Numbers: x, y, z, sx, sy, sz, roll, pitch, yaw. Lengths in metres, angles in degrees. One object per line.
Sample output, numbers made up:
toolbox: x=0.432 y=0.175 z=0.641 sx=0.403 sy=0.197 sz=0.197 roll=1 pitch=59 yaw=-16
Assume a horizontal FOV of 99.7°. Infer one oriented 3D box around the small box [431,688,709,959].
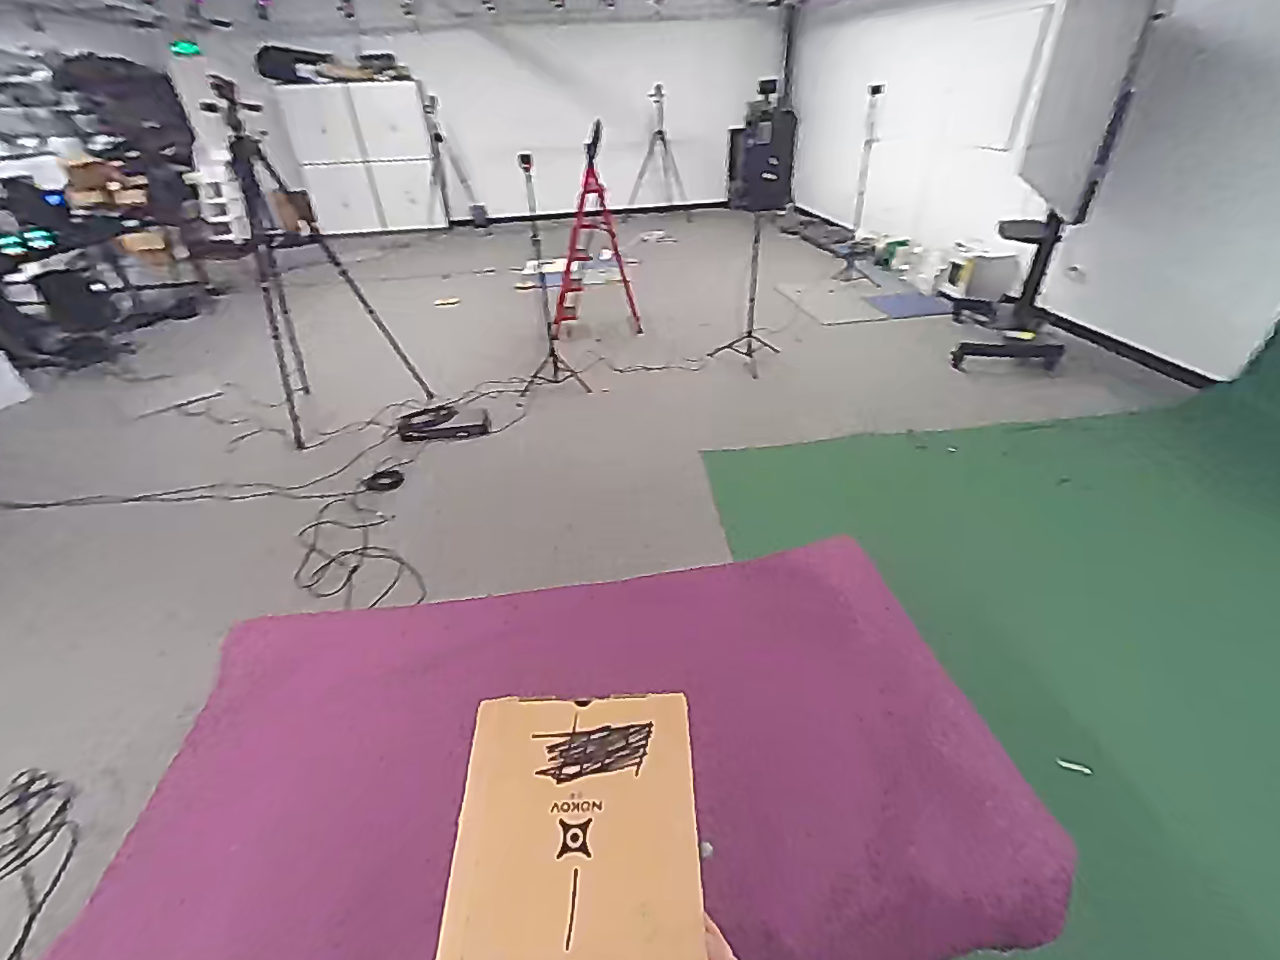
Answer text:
small box: x=-0.039 y=0.283 z=0.422 sx=0.168 sy=0.176 sz=0.179 roll=-2 pitch=47 yaw=1
